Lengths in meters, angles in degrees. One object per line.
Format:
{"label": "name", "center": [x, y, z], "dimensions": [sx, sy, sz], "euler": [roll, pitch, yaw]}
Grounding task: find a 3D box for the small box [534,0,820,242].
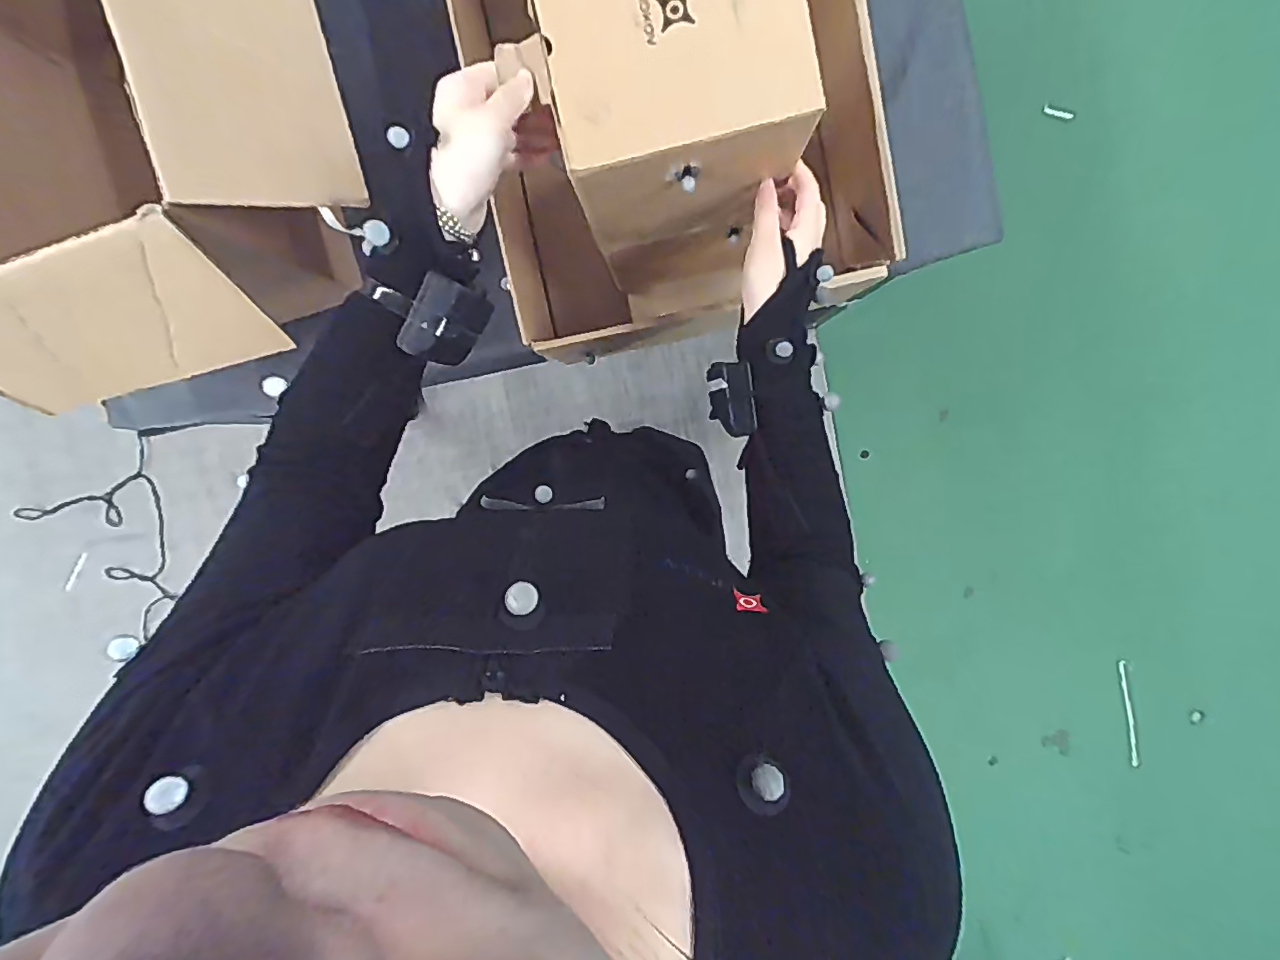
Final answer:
{"label": "small box", "center": [0.025, -0.315, 0.439], "dimensions": [0.179, 0.176, 0.168], "euler": [-12, 97, 3]}
